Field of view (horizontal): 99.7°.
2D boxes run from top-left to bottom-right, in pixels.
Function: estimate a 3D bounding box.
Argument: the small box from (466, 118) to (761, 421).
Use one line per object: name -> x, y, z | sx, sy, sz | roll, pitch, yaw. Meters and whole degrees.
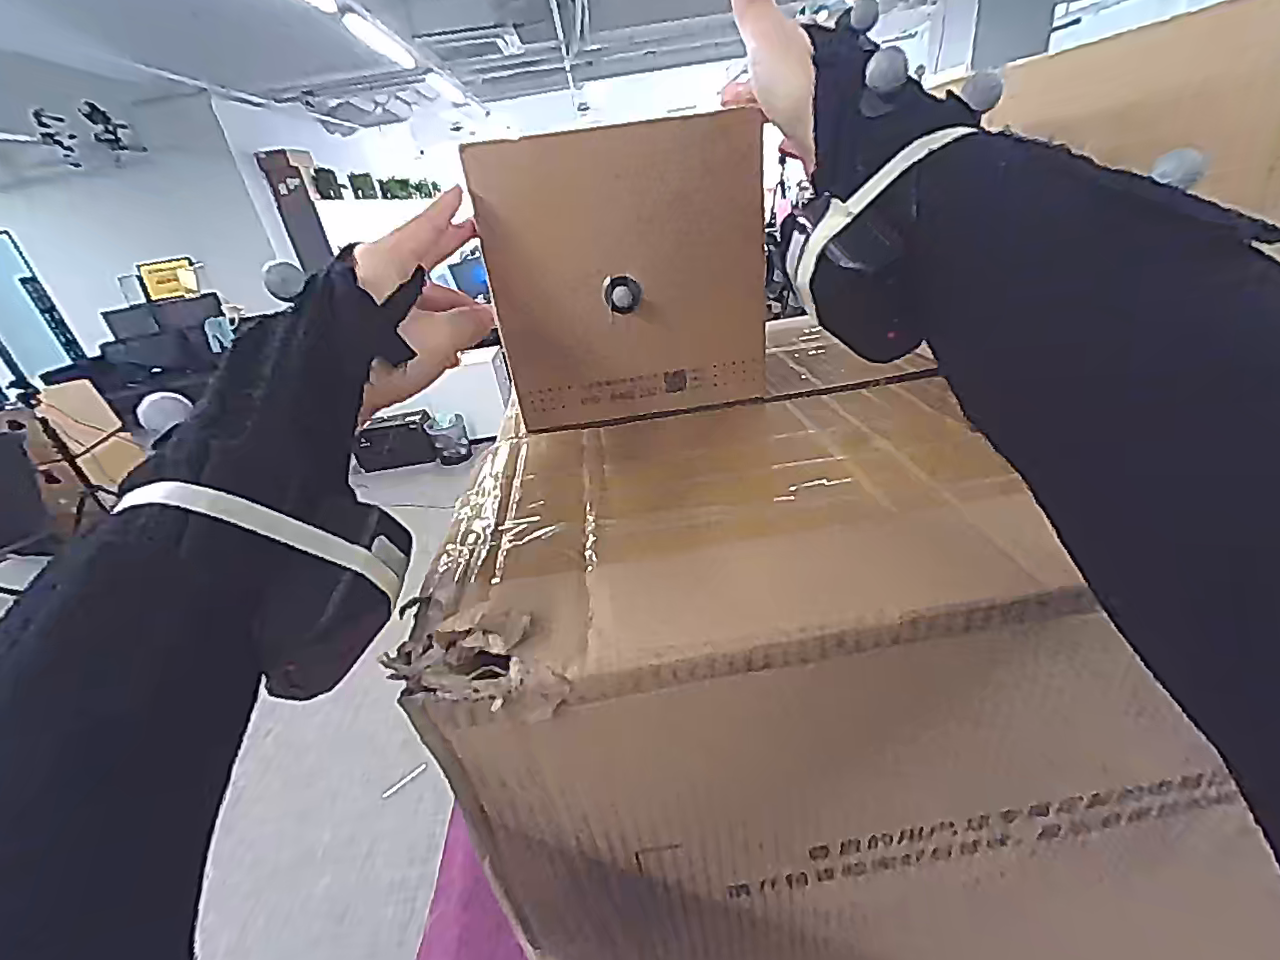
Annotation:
small box -> -0.010, -0.148, 0.399 | 0.168, 0.176, 0.179 | -7, 28, -1
